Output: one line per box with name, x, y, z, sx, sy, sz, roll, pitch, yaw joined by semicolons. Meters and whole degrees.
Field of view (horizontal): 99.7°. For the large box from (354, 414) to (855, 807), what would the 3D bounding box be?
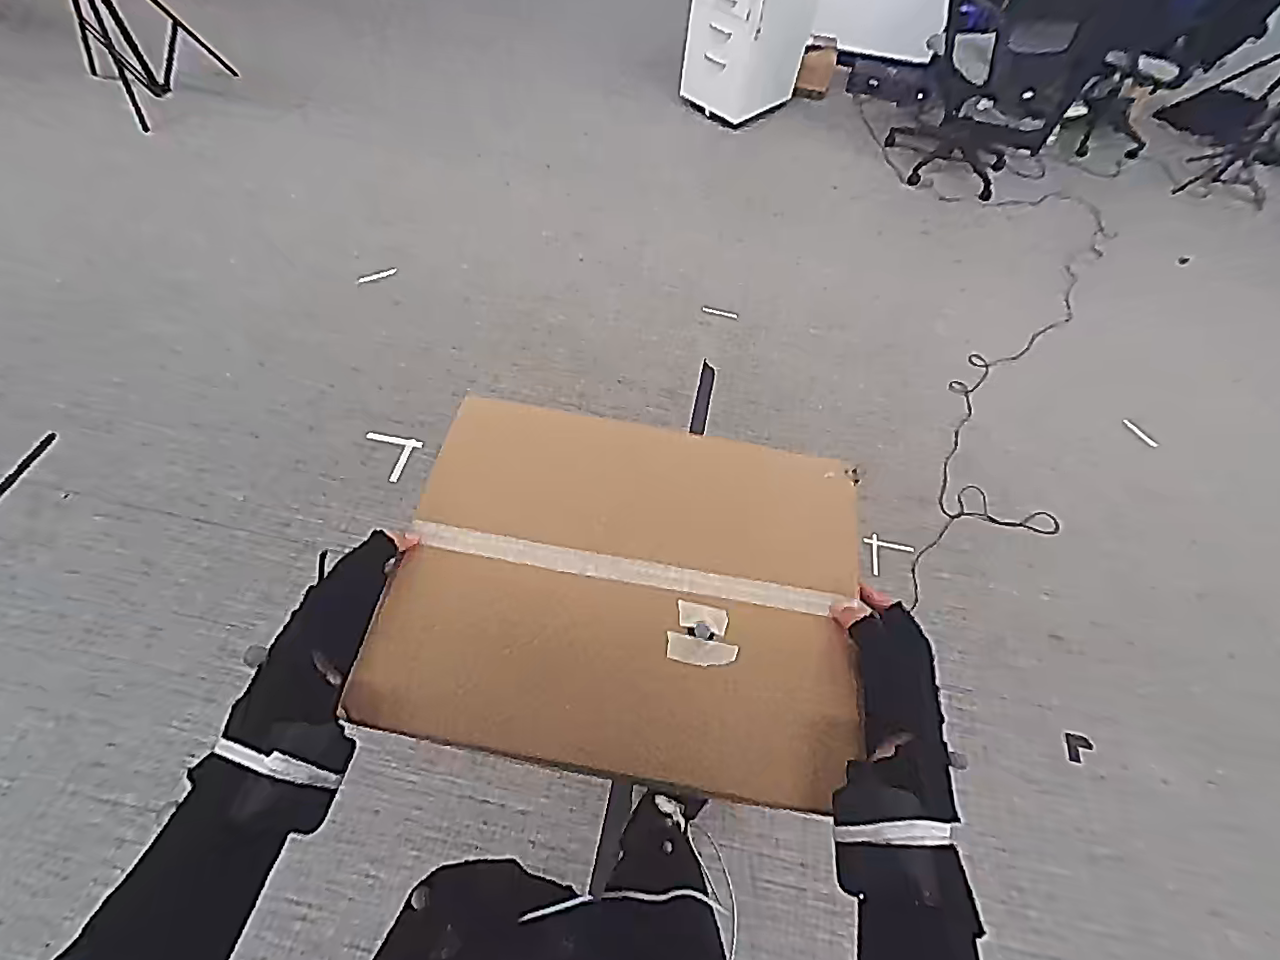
large box;-0.021;0.164;0.619;0.408;0.320;0.320;10;61;0
